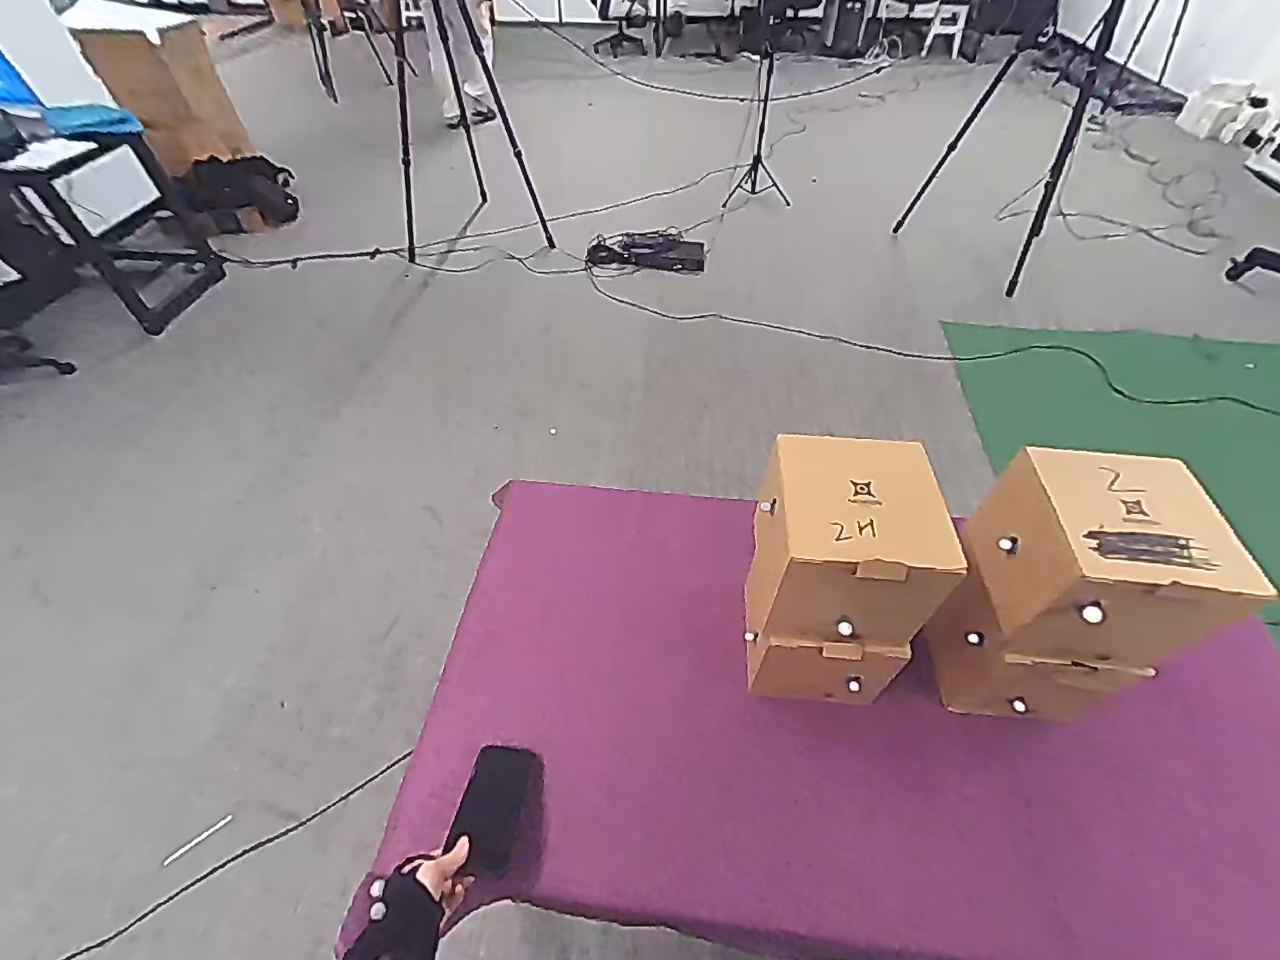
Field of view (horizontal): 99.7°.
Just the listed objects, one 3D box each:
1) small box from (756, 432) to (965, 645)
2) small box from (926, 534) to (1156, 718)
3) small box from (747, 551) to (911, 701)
[{"bbox_3d":[0.230,0.068,0.624,0.168,0.176,0.179,3,49,4],"label":"small box"},{"bbox_3d":[0.507,0.196,0.724,0.168,0.176,0.179,4,50,5],"label":"small box"},{"bbox_3d":[0.242,0.185,0.740,0.168,0.176,0.179,4,49,4],"label":"small box"}]
